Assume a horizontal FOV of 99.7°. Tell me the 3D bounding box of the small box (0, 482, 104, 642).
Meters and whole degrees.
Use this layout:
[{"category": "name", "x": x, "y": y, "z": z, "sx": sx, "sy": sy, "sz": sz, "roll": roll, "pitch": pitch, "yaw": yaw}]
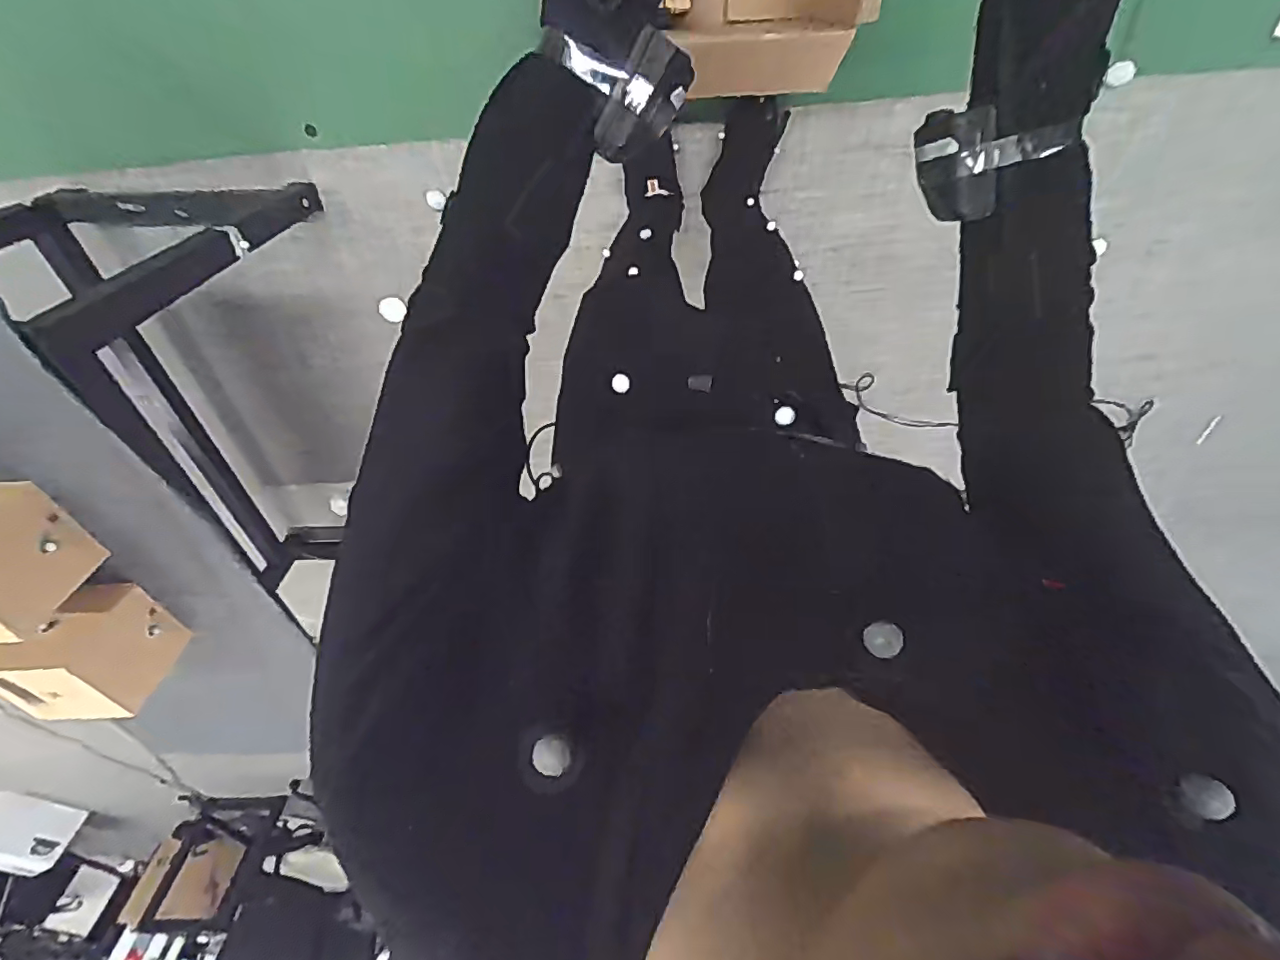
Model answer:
[{"category": "small box", "x": -0.965, "y": 0.115, "z": 0.783, "sx": 0.179, "sy": 0.176, "sz": 0.168, "roll": -2, "pitch": 132, "yaw": 3}]
